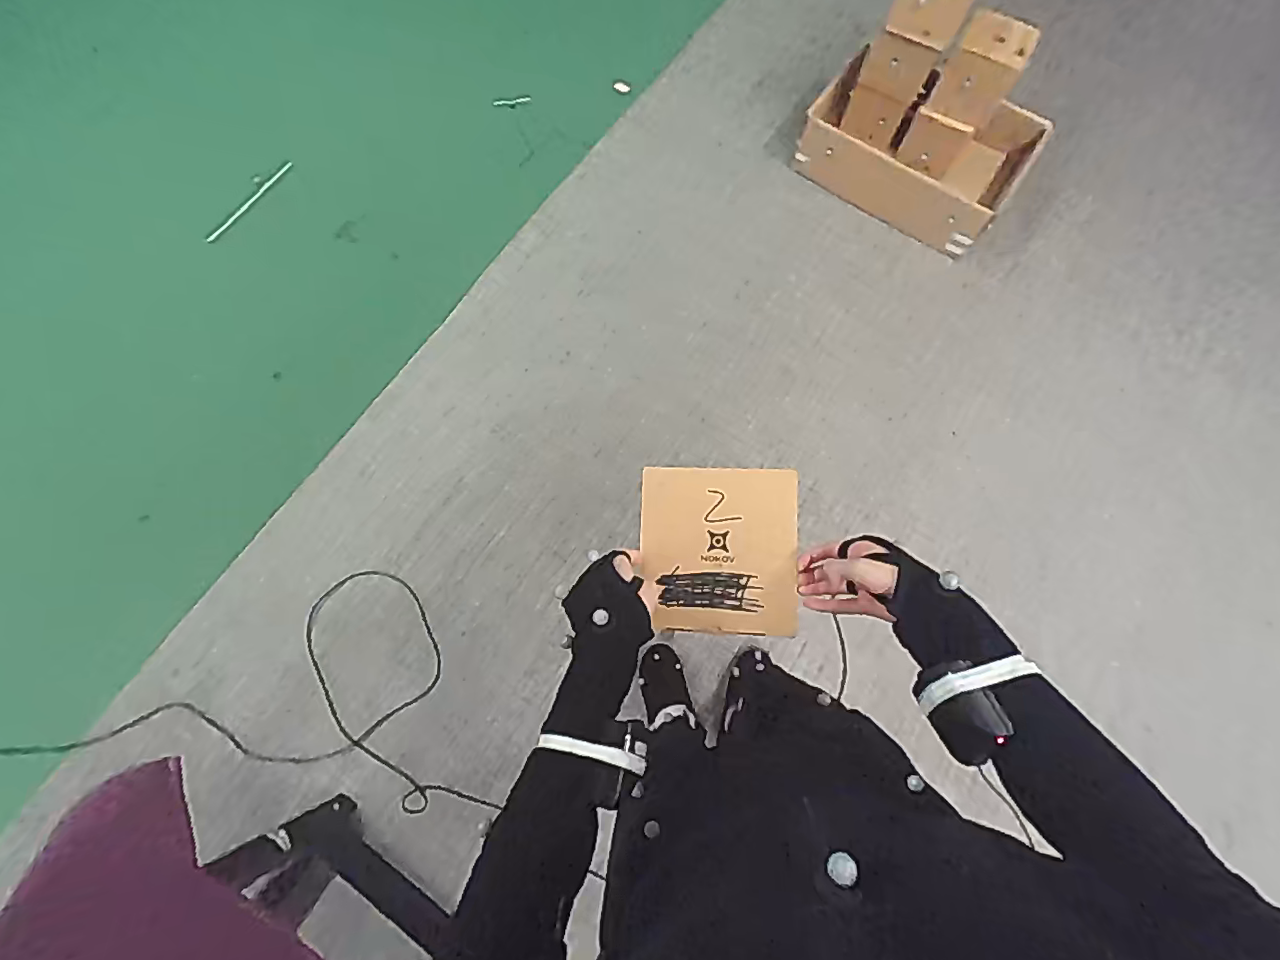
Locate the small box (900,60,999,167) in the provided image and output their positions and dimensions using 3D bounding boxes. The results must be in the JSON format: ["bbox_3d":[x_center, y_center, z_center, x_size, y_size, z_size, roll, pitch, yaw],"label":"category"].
[{"bbox_3d":[0.912,-1.087,1.613,0.168,0.176,0.179,33,79,11],"label":"small box"}]

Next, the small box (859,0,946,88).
[{"bbox_3d":[0.739,-1.227,1.483,0.179,0.176,0.168,30,78,8],"label":"small box"}]

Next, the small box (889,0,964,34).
[{"bbox_3d":[0.740,-1.252,1.321,0.168,0.176,0.179,26,78,7],"label":"small box"}]
